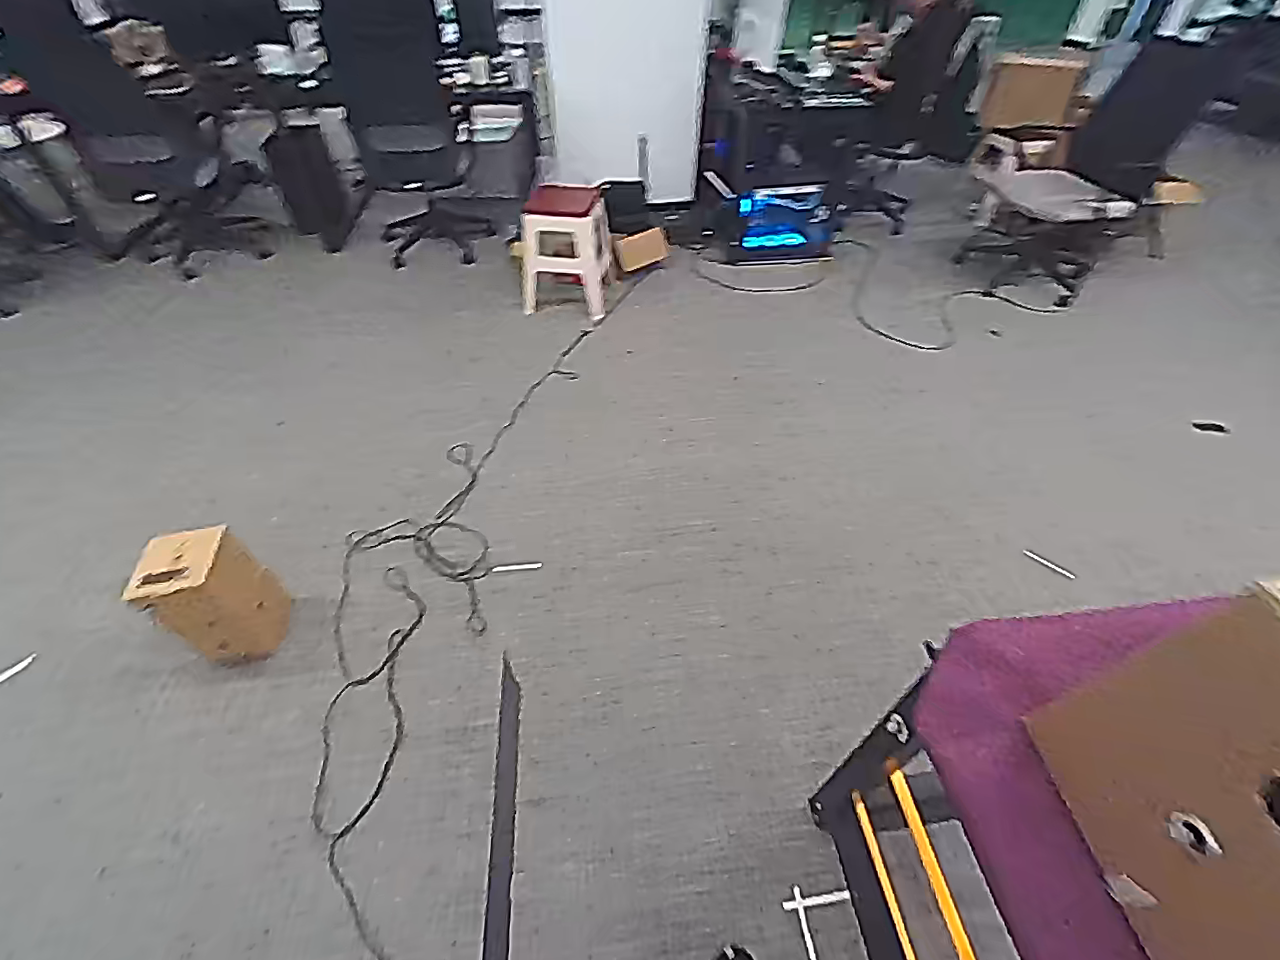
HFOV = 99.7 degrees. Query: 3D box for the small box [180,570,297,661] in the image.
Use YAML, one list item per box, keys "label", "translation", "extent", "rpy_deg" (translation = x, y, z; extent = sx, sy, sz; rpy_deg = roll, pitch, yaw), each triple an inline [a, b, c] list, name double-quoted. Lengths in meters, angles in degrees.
- label: "small box"
  translation: [-1.045, 0.364, 1.430]
  extent: [0.168, 0.176, 0.179]
  rpy_deg: [-6, 47, -5]
